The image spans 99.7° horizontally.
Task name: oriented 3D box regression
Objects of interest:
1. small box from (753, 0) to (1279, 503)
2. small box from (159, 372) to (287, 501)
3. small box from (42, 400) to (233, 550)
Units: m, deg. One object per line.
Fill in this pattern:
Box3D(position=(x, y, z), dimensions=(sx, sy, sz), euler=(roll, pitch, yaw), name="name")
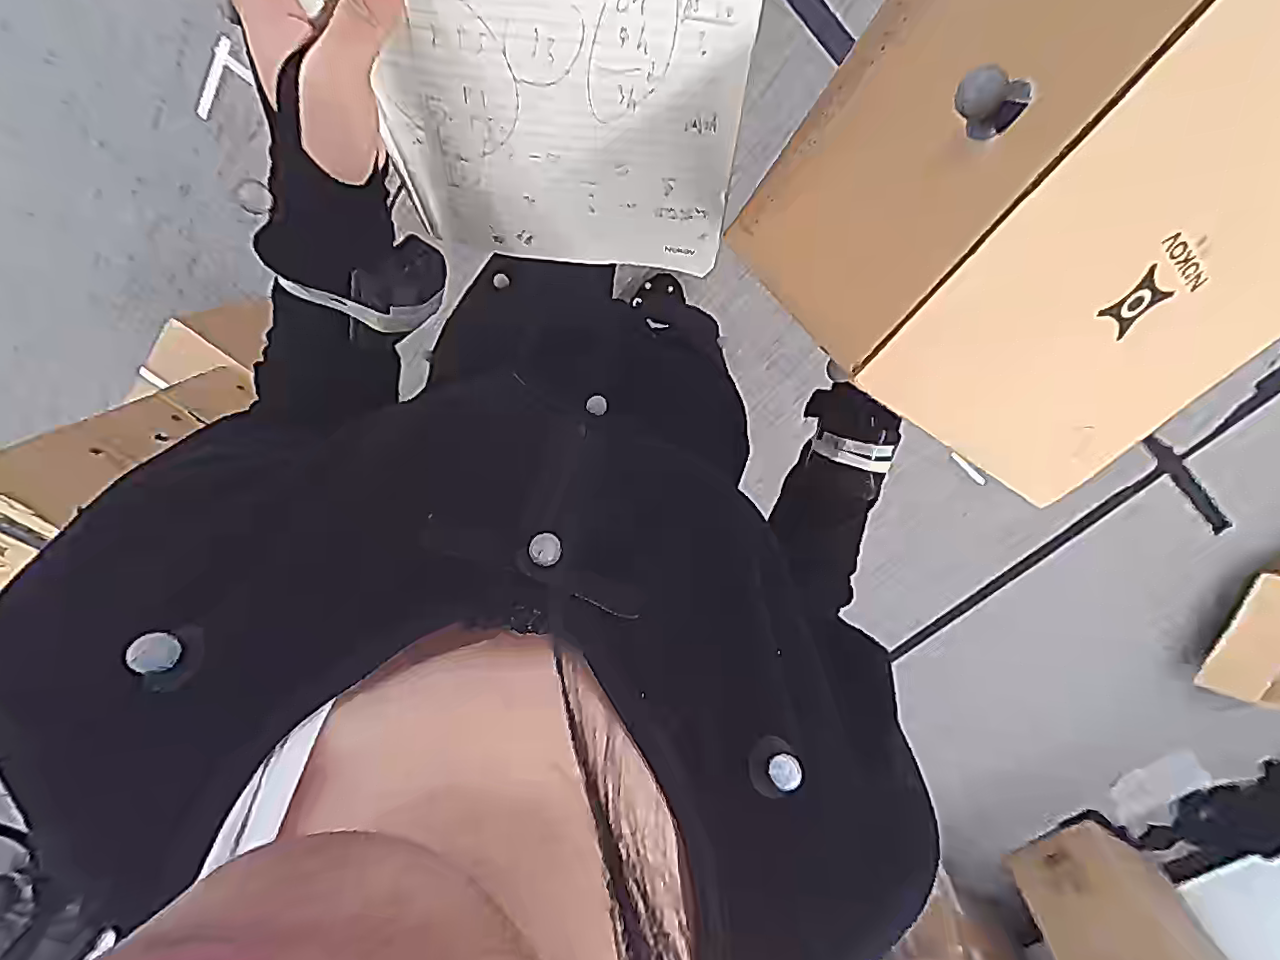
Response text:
Box3D(position=(0.178, -0.125, 0.264), dimensions=(0.168, 0.176, 0.179), euler=(21, 121, -29), name="small box")
Box3D(position=(-0.879, -0.096, 1.120), dimensions=(0.179, 0.176, 0.168), euler=(-40, 109, 20), name="small box")
Box3D(position=(-0.889, -0.016, 0.977), dimensions=(0.168, 0.176, 0.179), euler=(40, 110, -17), name="small box")
